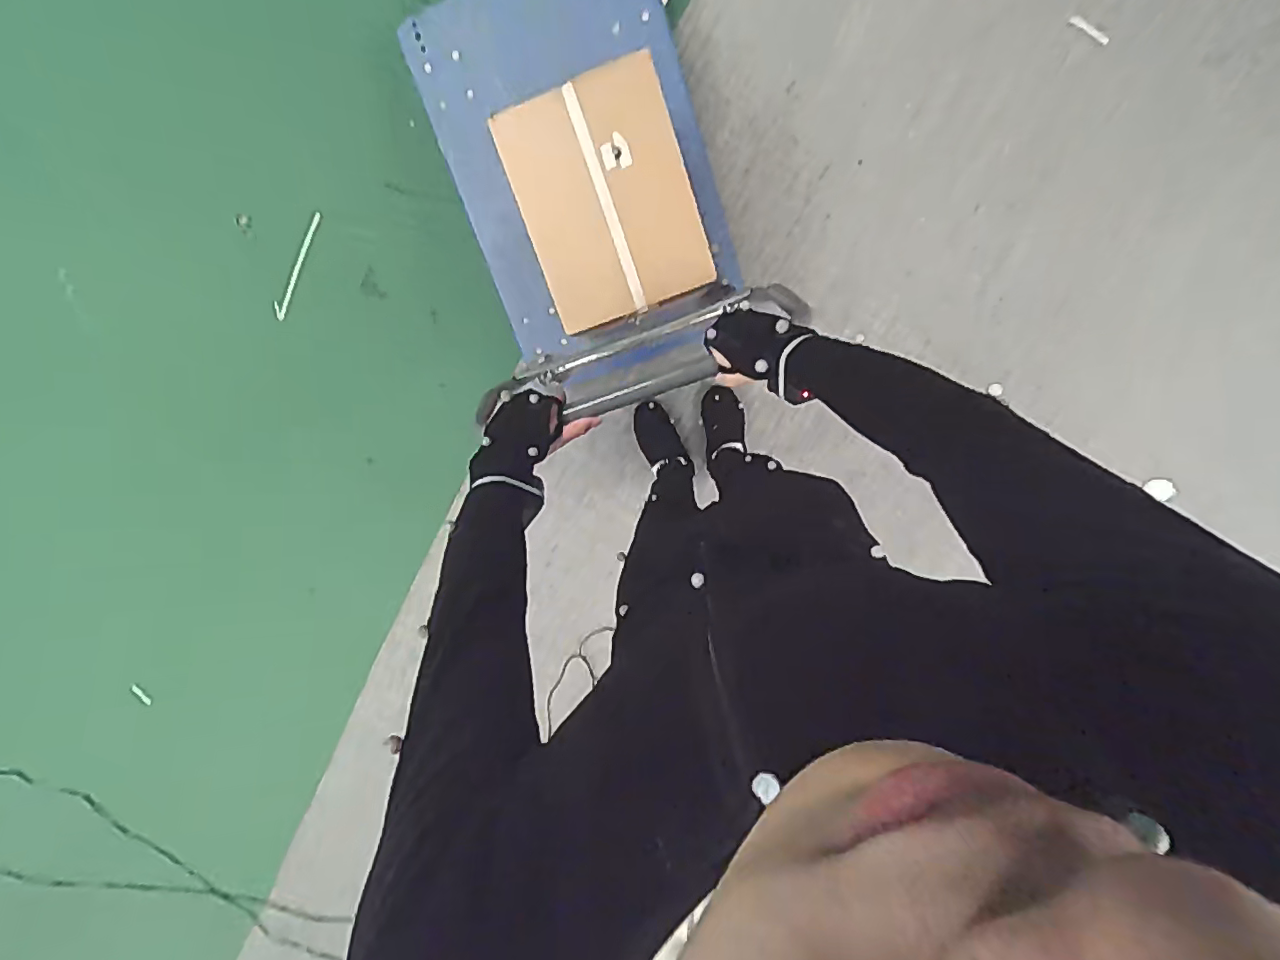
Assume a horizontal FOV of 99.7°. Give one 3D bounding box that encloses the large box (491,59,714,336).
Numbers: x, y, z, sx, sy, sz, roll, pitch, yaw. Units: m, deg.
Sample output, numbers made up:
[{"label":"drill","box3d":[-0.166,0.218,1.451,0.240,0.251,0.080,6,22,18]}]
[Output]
[{"label":"large box","box3d":[-0.058,-0.555,1.161,0.320,0.320,0.408,-19,102,6]}]
